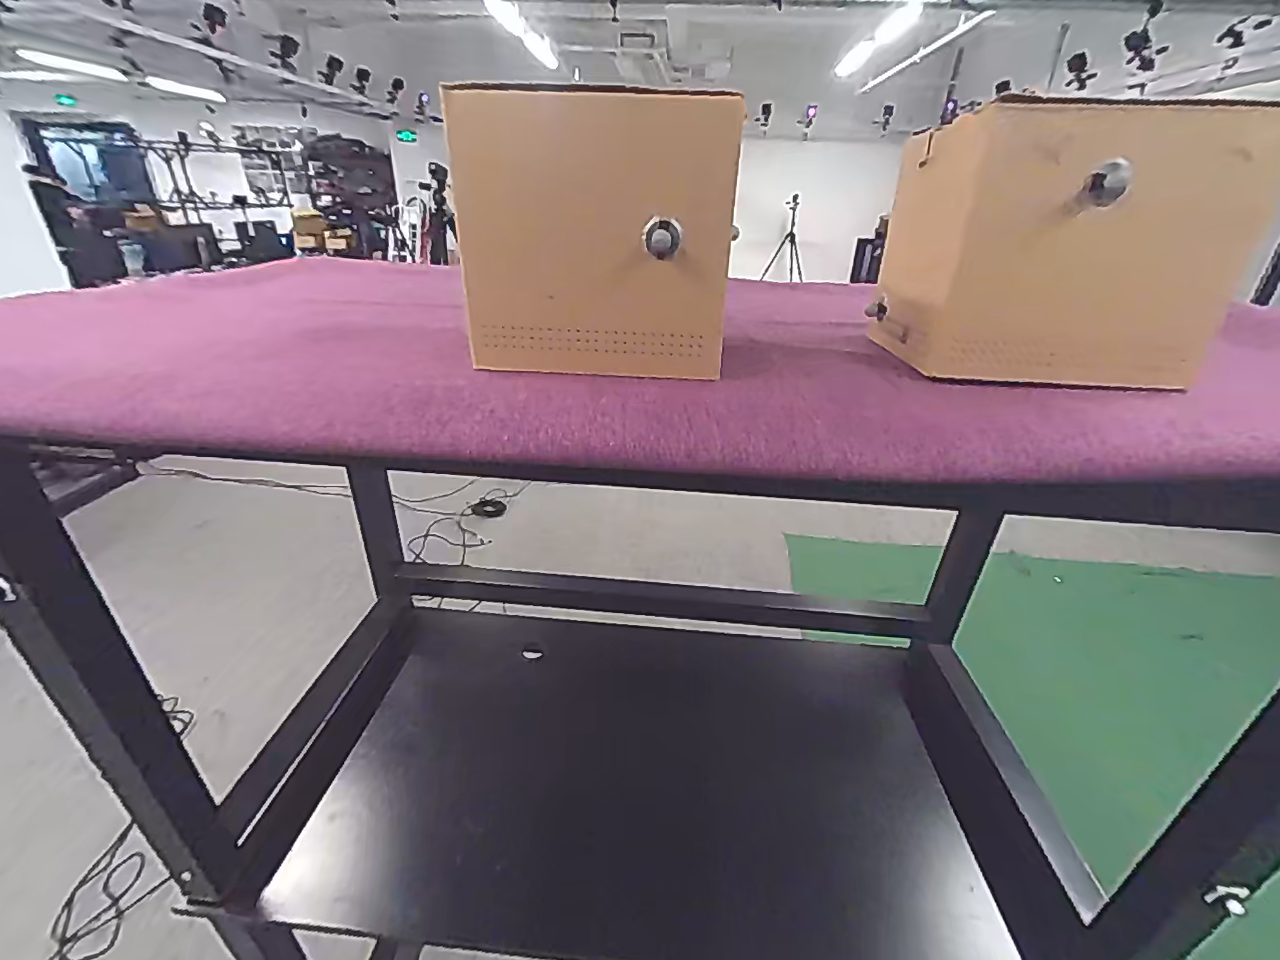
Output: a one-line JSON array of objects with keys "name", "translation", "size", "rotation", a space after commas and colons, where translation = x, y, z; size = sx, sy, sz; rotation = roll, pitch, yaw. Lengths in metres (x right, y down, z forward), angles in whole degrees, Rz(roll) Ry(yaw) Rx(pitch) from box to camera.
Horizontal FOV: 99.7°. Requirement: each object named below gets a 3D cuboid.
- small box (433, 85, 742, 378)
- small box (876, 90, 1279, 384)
[{"name": "small box", "translation": [-0.028, -0.180, 0.407], "size": [0.179, 0.176, 0.168], "rotation": [2, 28, 2]}, {"name": "small box", "translation": [0.296, -0.175, 0.411], "size": [0.179, 0.176, 0.168], "rotation": [4, 26, 5]}]
